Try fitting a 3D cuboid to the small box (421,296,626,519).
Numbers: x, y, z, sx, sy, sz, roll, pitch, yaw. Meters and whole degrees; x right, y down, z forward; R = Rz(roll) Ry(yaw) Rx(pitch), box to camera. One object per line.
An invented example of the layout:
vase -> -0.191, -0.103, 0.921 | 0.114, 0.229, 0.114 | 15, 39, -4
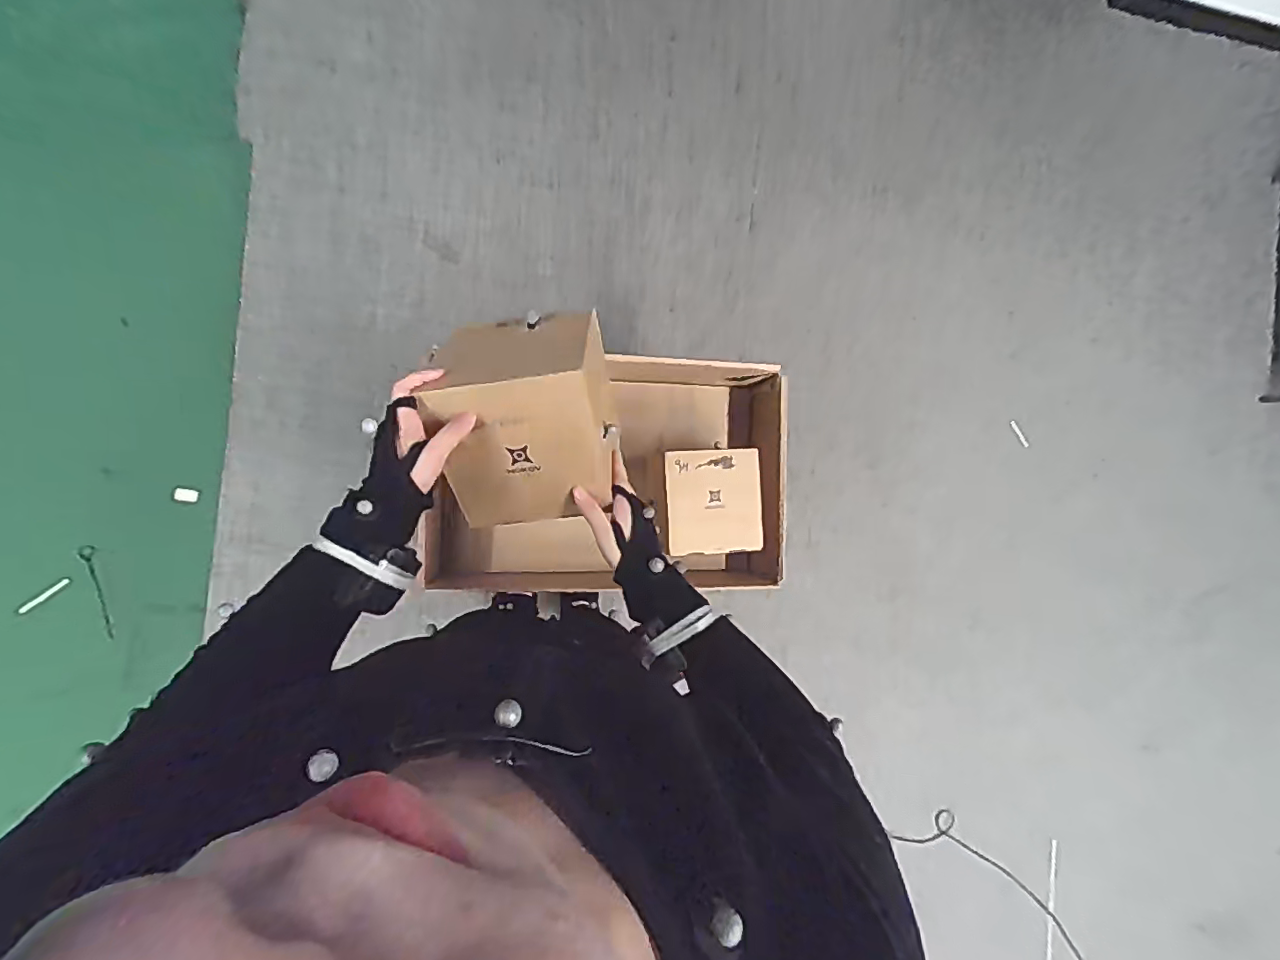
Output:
small box -> -0.109, -0.081, 0.602 | 0.168, 0.176, 0.179 | -6, 130, 5
